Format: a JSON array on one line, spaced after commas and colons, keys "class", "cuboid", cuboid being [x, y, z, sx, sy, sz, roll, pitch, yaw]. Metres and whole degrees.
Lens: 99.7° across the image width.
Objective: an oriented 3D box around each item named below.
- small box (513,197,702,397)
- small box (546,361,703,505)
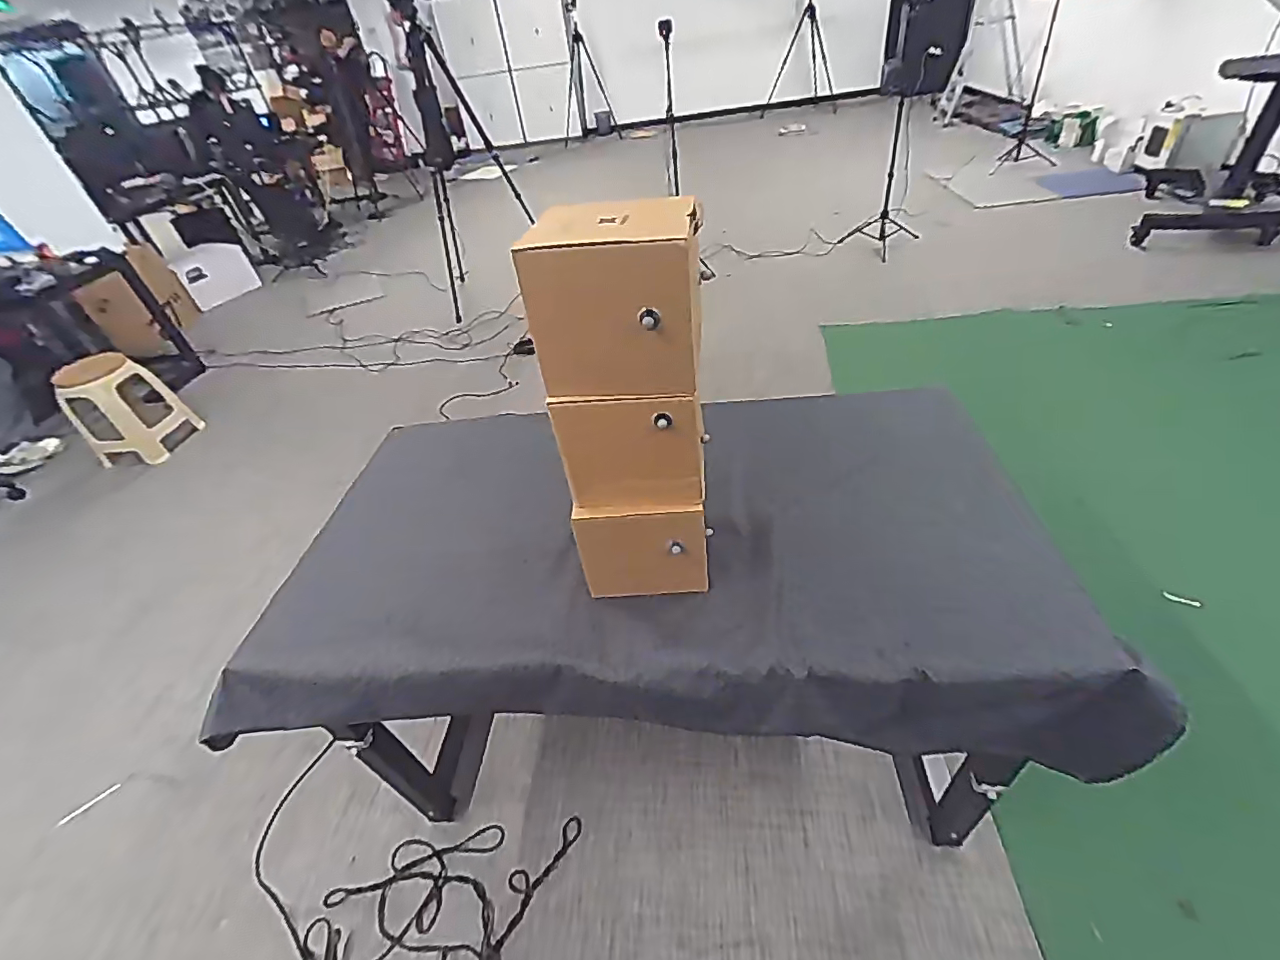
[{"class": "small box", "cuboid": [-0.020, -0.206, 0.620, 0.179, 0.176, 0.168, -1, 39, 10]}, {"class": "small box", "cuboid": [-0.008, -0.078, 0.720, 0.179, 0.176, 0.168, -2, 40, 7]}]
